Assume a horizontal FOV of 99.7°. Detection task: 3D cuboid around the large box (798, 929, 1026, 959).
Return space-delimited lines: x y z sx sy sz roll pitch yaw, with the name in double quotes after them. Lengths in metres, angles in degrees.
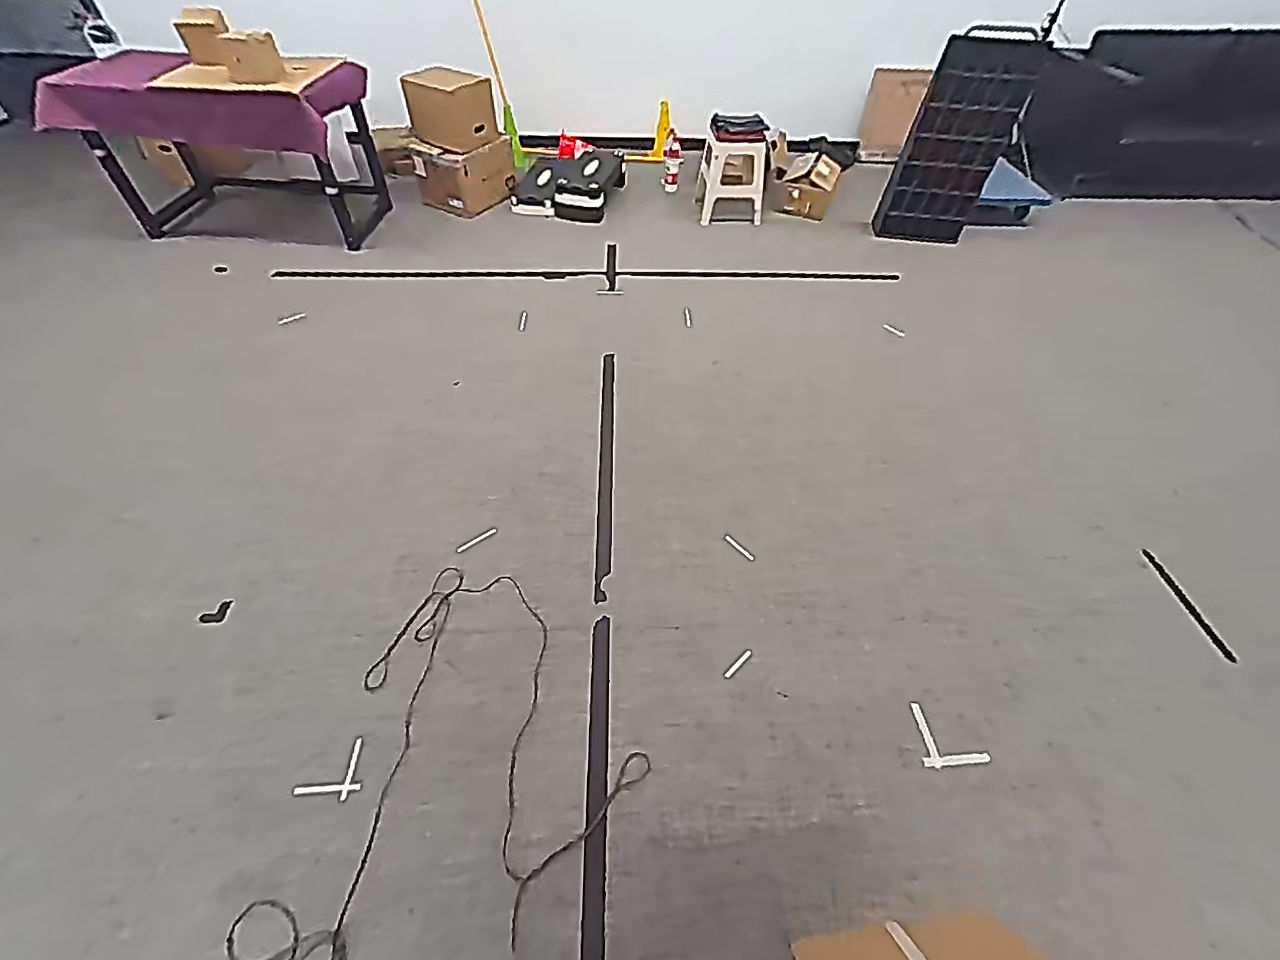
0.403 0.800 0.585 0.320 0.408 0.320 -6 81 -3 "large box"
